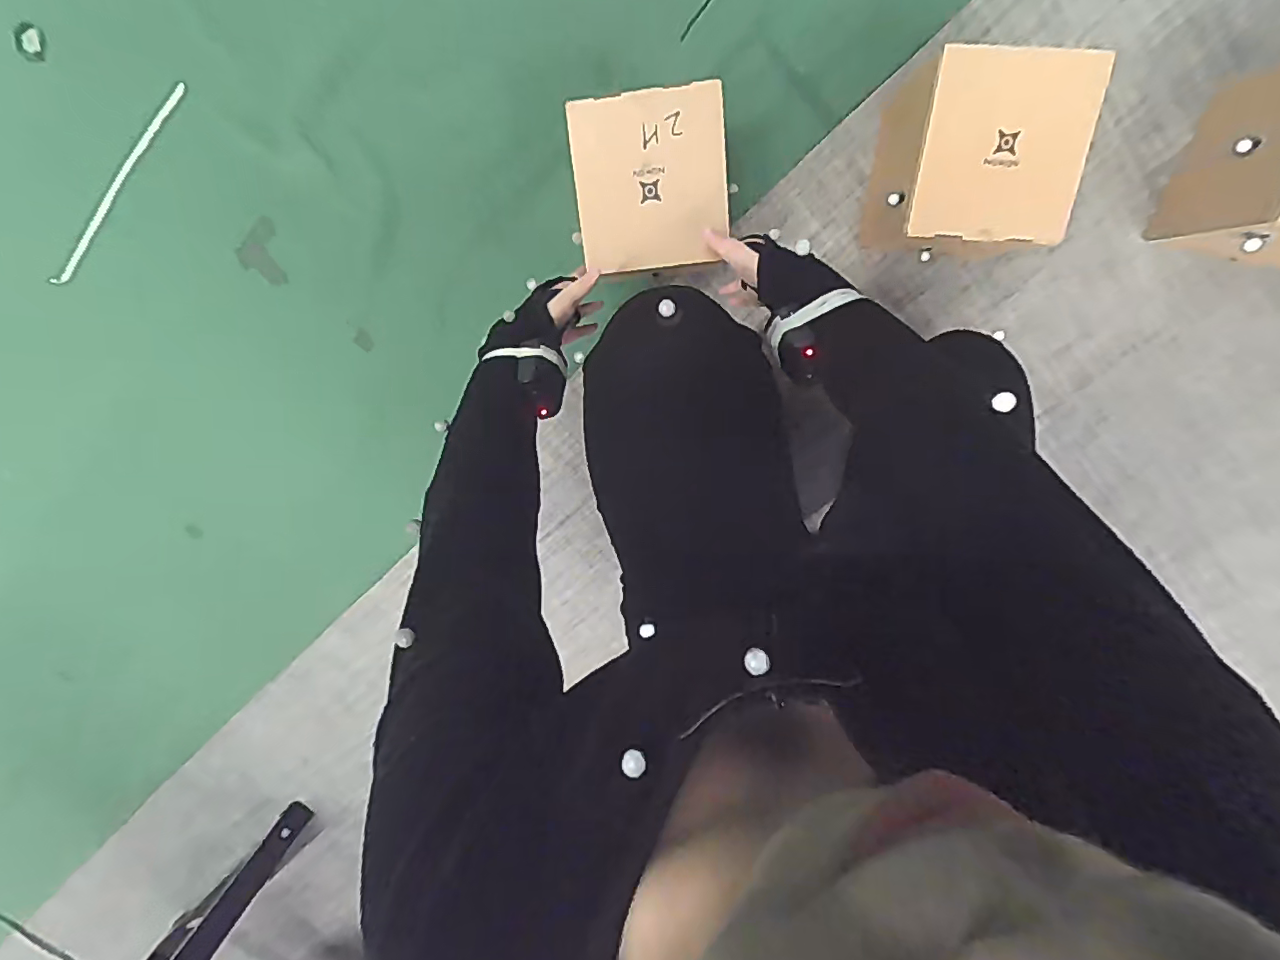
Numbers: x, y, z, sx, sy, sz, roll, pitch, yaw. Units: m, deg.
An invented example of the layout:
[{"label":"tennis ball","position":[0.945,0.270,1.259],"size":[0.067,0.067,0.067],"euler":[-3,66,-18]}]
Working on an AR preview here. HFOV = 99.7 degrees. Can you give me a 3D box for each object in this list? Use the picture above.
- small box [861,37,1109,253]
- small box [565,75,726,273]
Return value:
[{"label":"small box","position":[0.376,-0.372,0.630],"size":[0.168,0.176,0.179],"euler":[5,109,3]},{"label":"small box","position":[0.015,-0.352,0.661],"size":[0.168,0.176,0.179],"euler":[-4,107,5]}]
